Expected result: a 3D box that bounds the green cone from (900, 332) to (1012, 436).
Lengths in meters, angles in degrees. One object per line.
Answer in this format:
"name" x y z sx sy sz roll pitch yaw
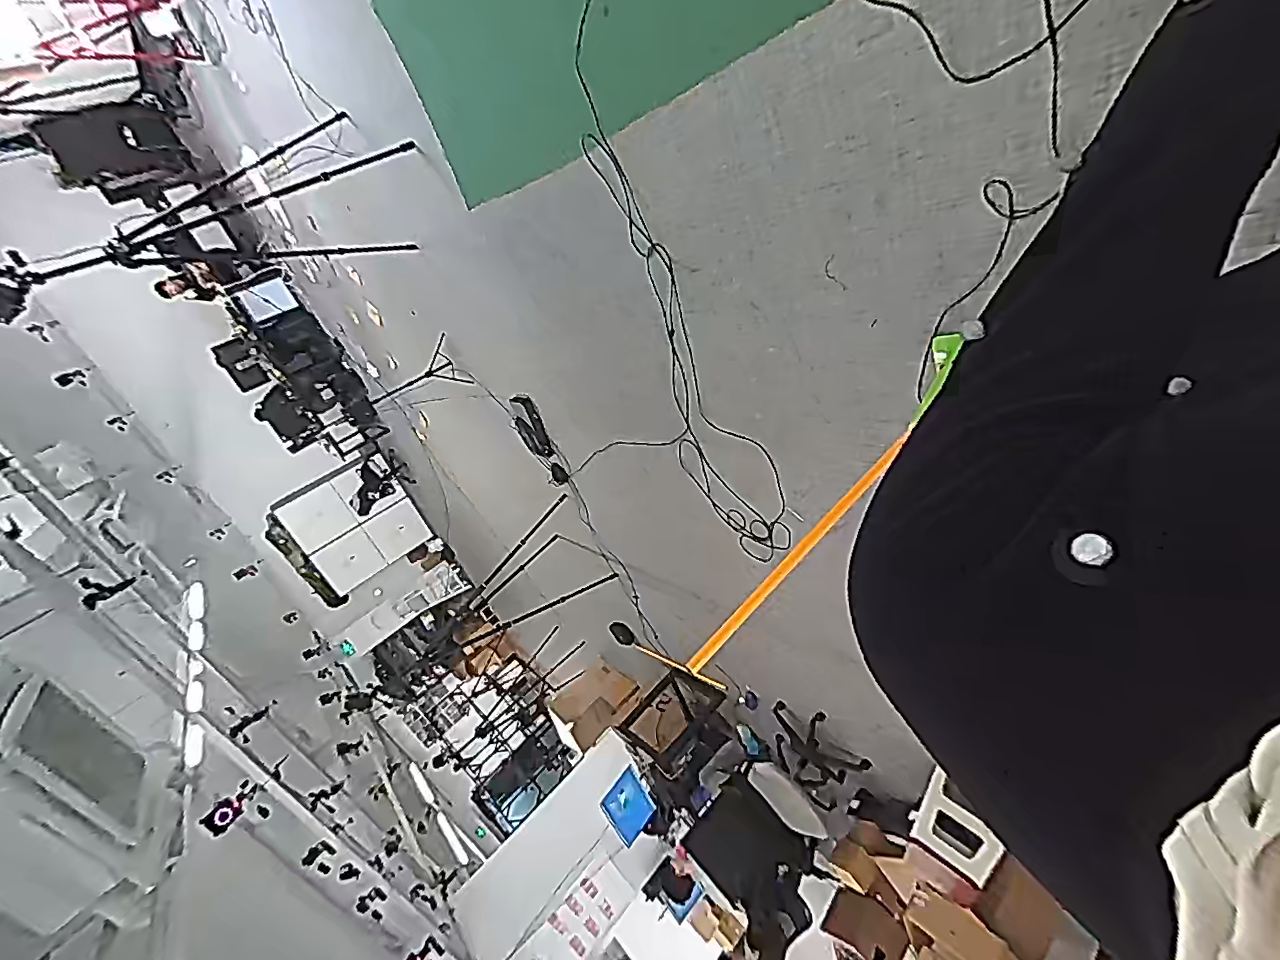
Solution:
"green cone" 0.815 -0.230 1.459 0.202 0.368 0.200 10 131 54
